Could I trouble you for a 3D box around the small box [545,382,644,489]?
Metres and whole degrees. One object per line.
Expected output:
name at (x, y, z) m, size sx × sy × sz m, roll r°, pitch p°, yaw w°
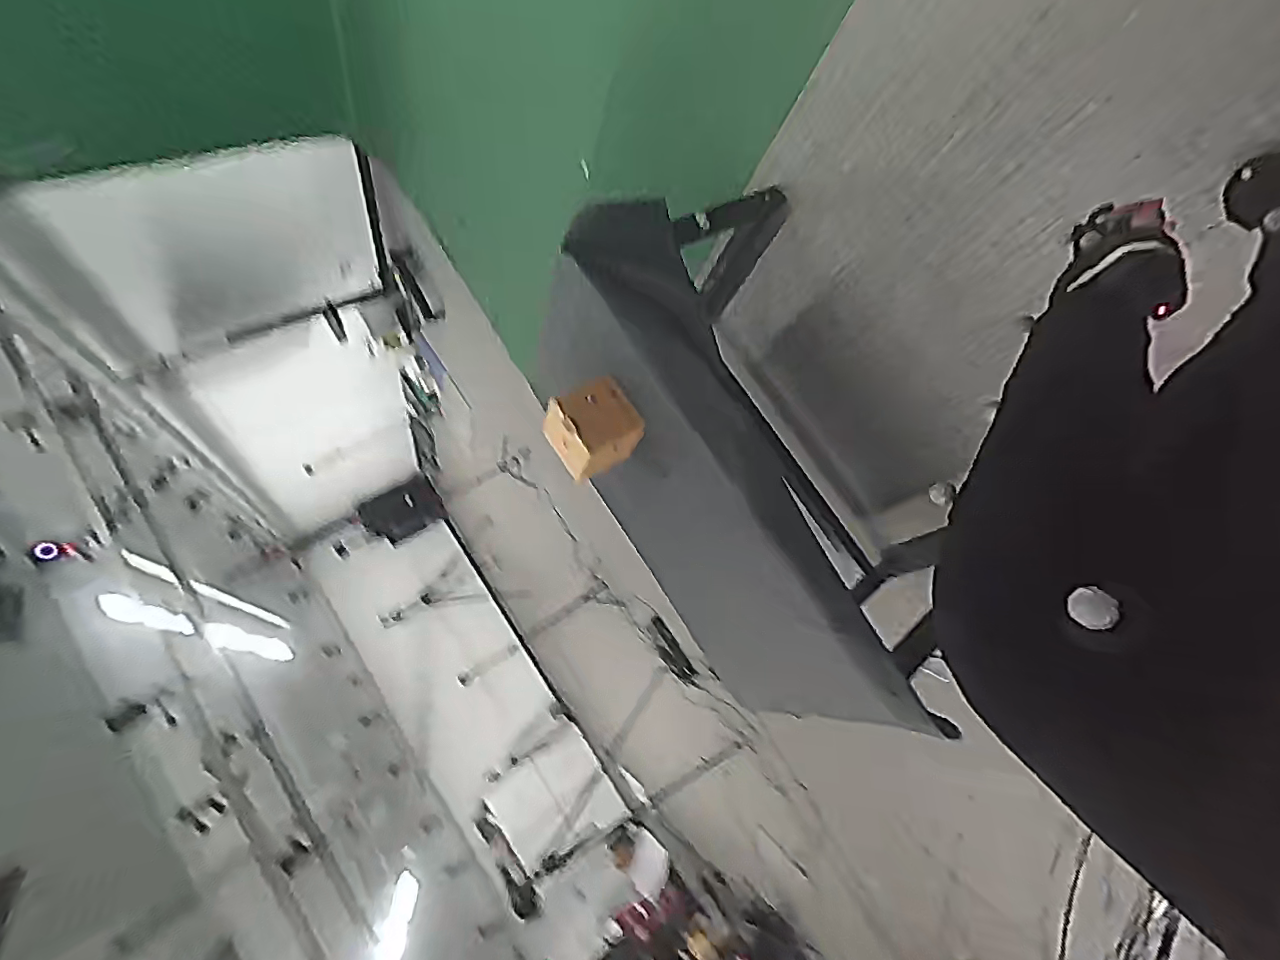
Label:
small box at (-0.111, -0.111, 1.324) m, size 0.168 × 0.176 × 0.179 m, roll 55°, pitch 155°, yaw 12°
